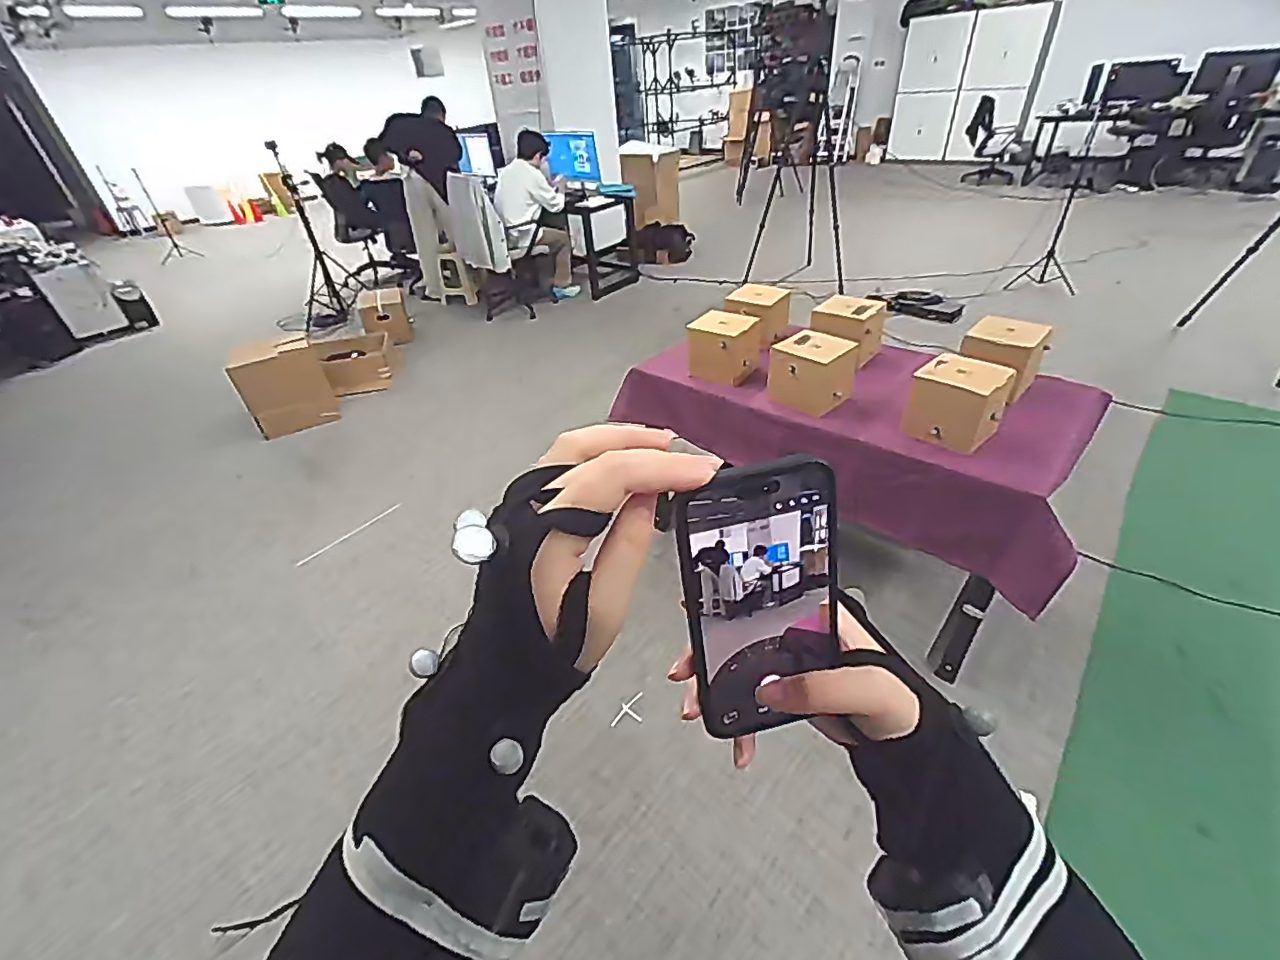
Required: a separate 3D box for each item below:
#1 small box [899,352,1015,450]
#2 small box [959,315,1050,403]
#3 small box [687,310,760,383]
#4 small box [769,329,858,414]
[{"bbox_3d":[0.784,-0.194,1.350,0.168,0.176,0.179,-30,44,-30],"label":"small box"},{"bbox_3d":[1.004,-0.342,1.517,0.179,0.176,0.168,-34,45,-31],"label":"small box"},{"bbox_3d":[0.264,-0.425,1.727,0.179,0.176,0.168,22,44,30],"label":"small box"},{"bbox_3d":[0.487,-0.308,1.541,0.168,0.176,0.179,-31,45,-30],"label":"small box"}]
